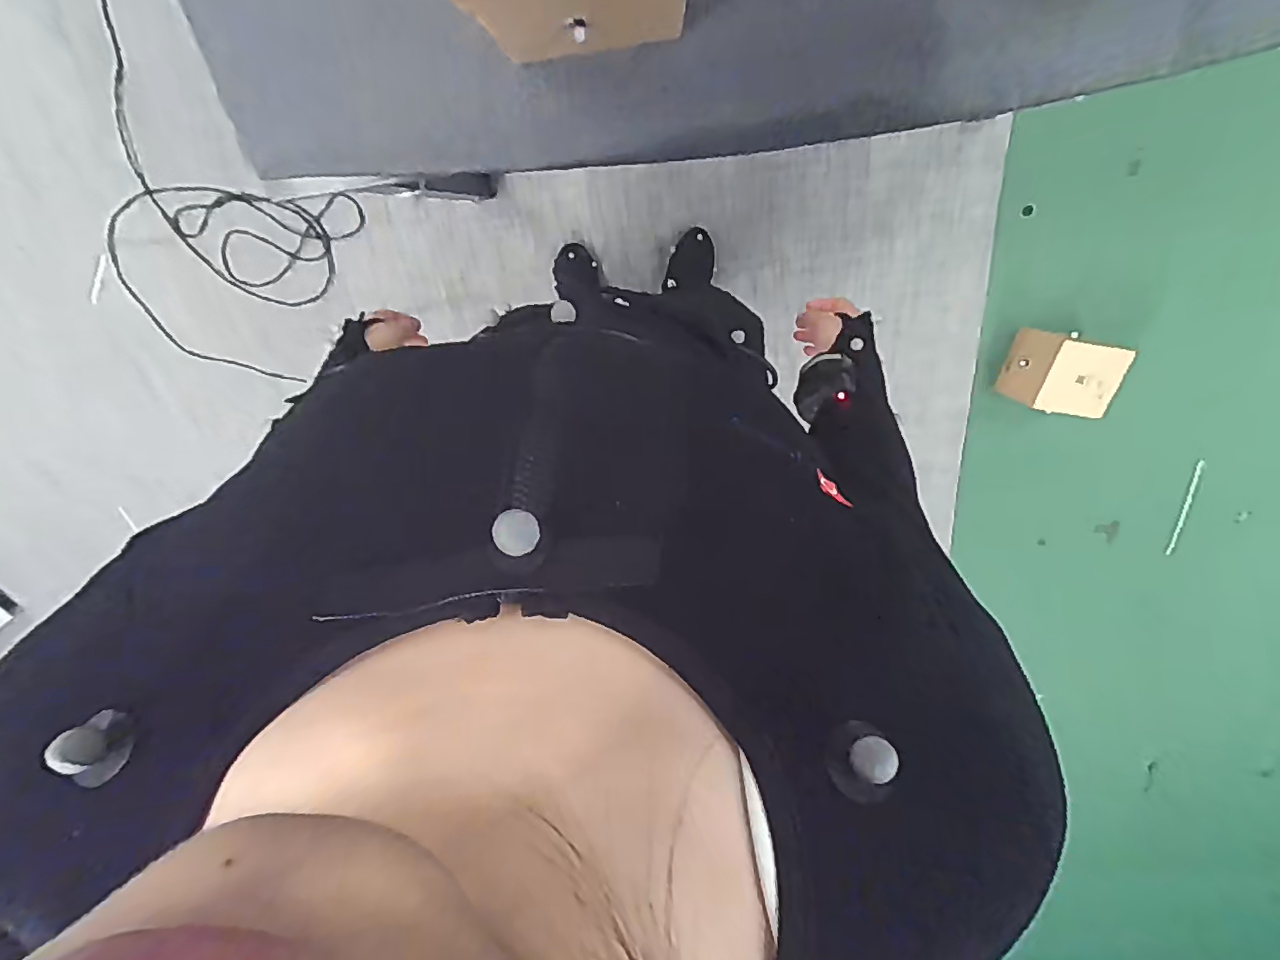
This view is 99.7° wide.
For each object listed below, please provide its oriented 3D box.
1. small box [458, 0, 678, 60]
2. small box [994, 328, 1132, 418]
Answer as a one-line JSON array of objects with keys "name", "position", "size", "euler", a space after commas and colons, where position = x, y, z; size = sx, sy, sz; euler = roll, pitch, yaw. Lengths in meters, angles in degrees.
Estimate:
[{"name": "small box", "position": [-0.059, -0.475, 0.444], "size": [0.179, 0.176, 0.168], "euler": [-5, 115, 5]}, {"name": "small box", "position": [1.025, -0.269, 1.332], "size": [0.179, 0.176, 0.168], "euler": [9, 117, -3]}]
